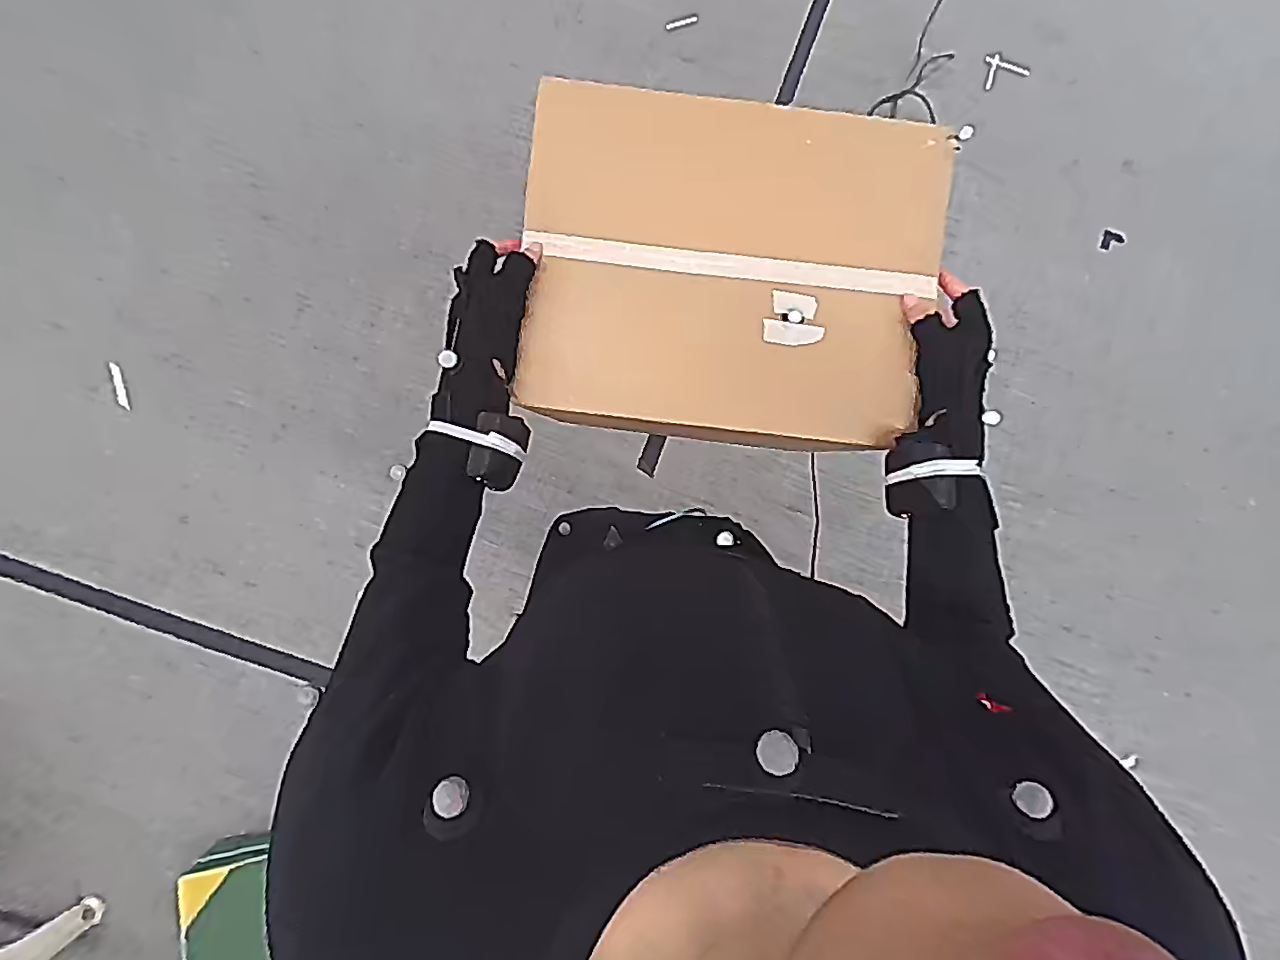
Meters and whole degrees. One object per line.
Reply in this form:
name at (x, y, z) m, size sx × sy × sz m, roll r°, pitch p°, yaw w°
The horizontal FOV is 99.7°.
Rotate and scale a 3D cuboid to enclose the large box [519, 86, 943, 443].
large box at (0.086, -0.224, 0.691) m, size 0.408 × 0.320 × 0.320 m, roll 7°, pitch 94°, yaw -1°
